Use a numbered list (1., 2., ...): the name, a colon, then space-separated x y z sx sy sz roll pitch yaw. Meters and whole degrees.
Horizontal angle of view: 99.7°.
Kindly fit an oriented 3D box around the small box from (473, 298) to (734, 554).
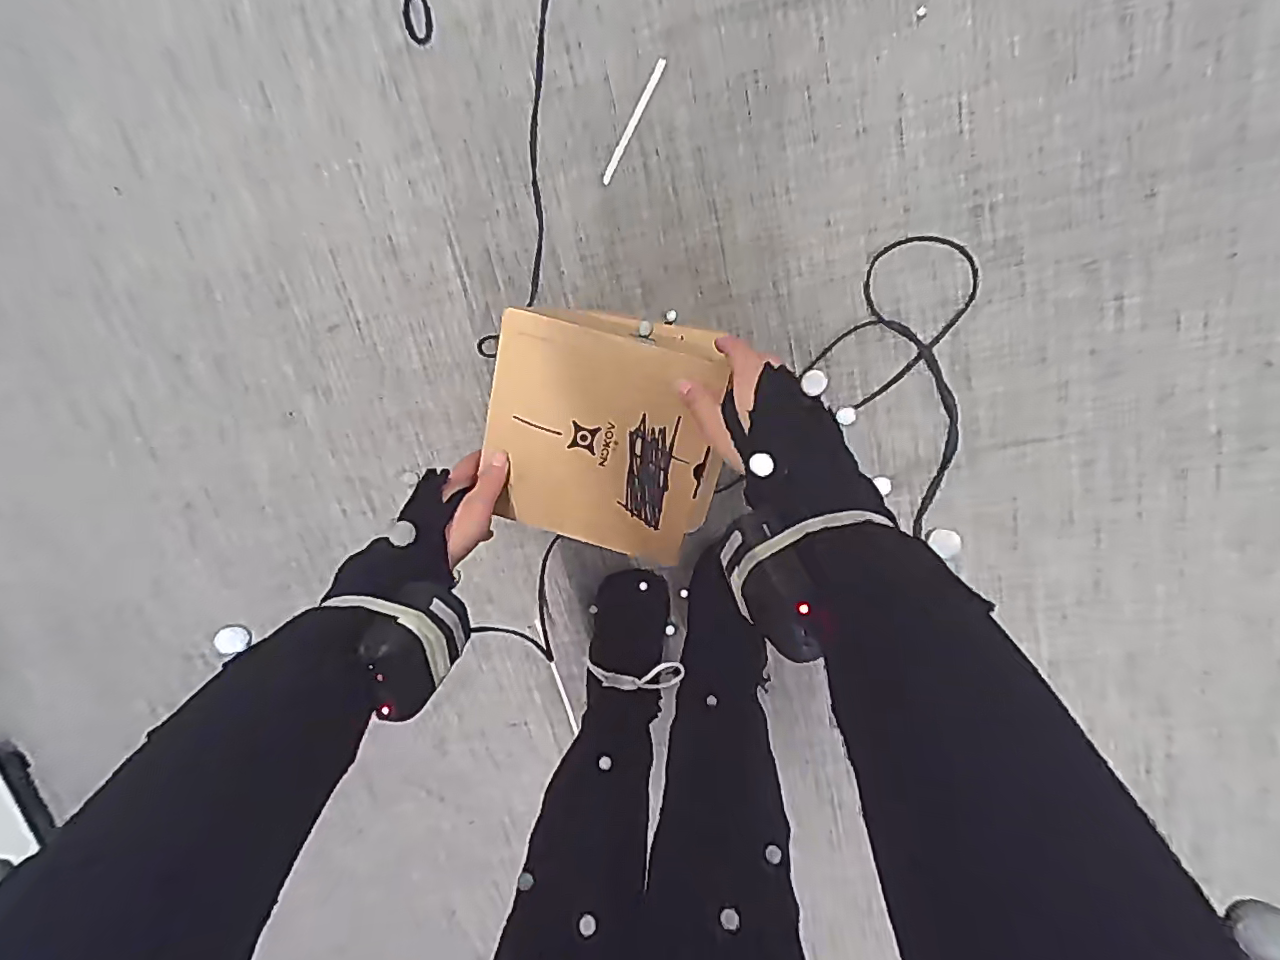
1. small box: -0.024 -0.059 0.490 0.179 0.176 0.168 16 108 3

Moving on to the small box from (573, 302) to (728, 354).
1. small box: 0.008 -0.108 0.645 0.168 0.176 0.179 11 108 4
